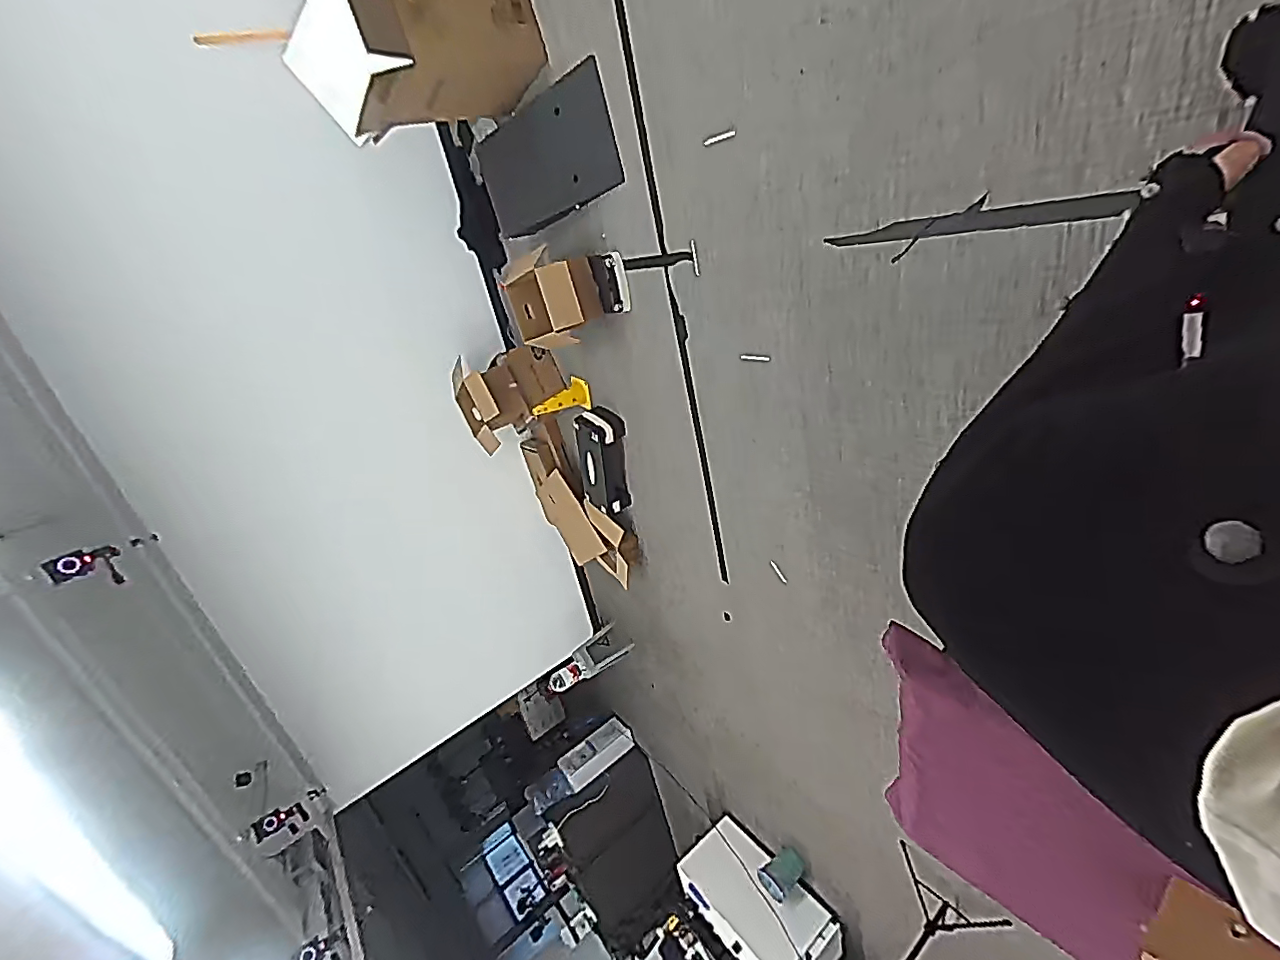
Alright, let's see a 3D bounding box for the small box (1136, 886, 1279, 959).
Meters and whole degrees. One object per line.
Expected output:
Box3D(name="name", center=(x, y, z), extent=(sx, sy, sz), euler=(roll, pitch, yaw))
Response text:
Box3D(name="small box", center=(0.951, 0.819, 0.883), extent=(0.179, 0.176, 0.168), euler=(19, 131, 53))
